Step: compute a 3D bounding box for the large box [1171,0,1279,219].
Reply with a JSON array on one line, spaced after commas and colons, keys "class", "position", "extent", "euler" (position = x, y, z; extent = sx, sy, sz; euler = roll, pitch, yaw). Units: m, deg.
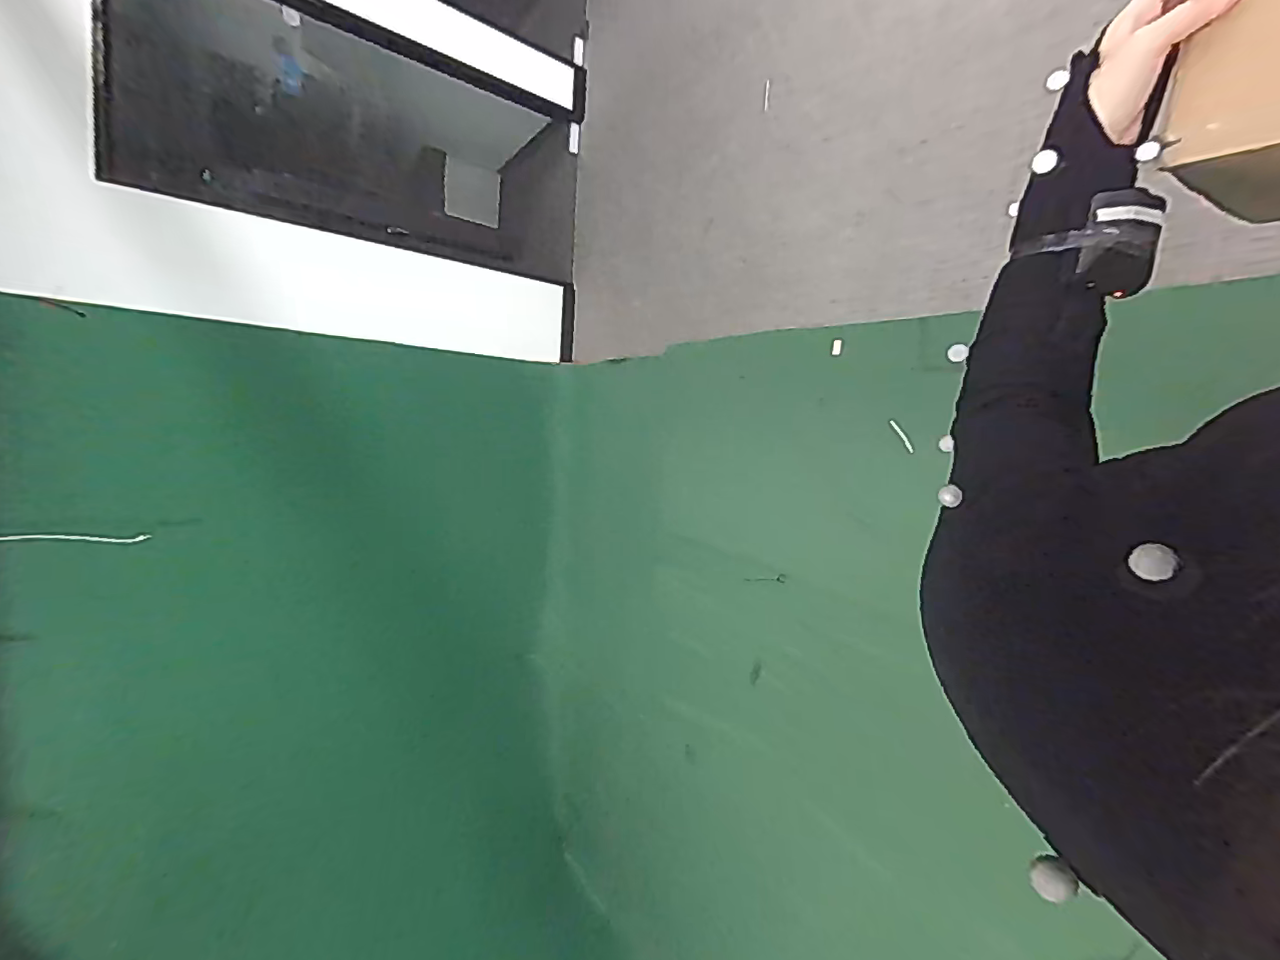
[{"class": "large box", "position": [0.623, -0.359, 0.283], "extent": [0.408, 0.320, 0.320], "euler": [18, 112, 55]}]
